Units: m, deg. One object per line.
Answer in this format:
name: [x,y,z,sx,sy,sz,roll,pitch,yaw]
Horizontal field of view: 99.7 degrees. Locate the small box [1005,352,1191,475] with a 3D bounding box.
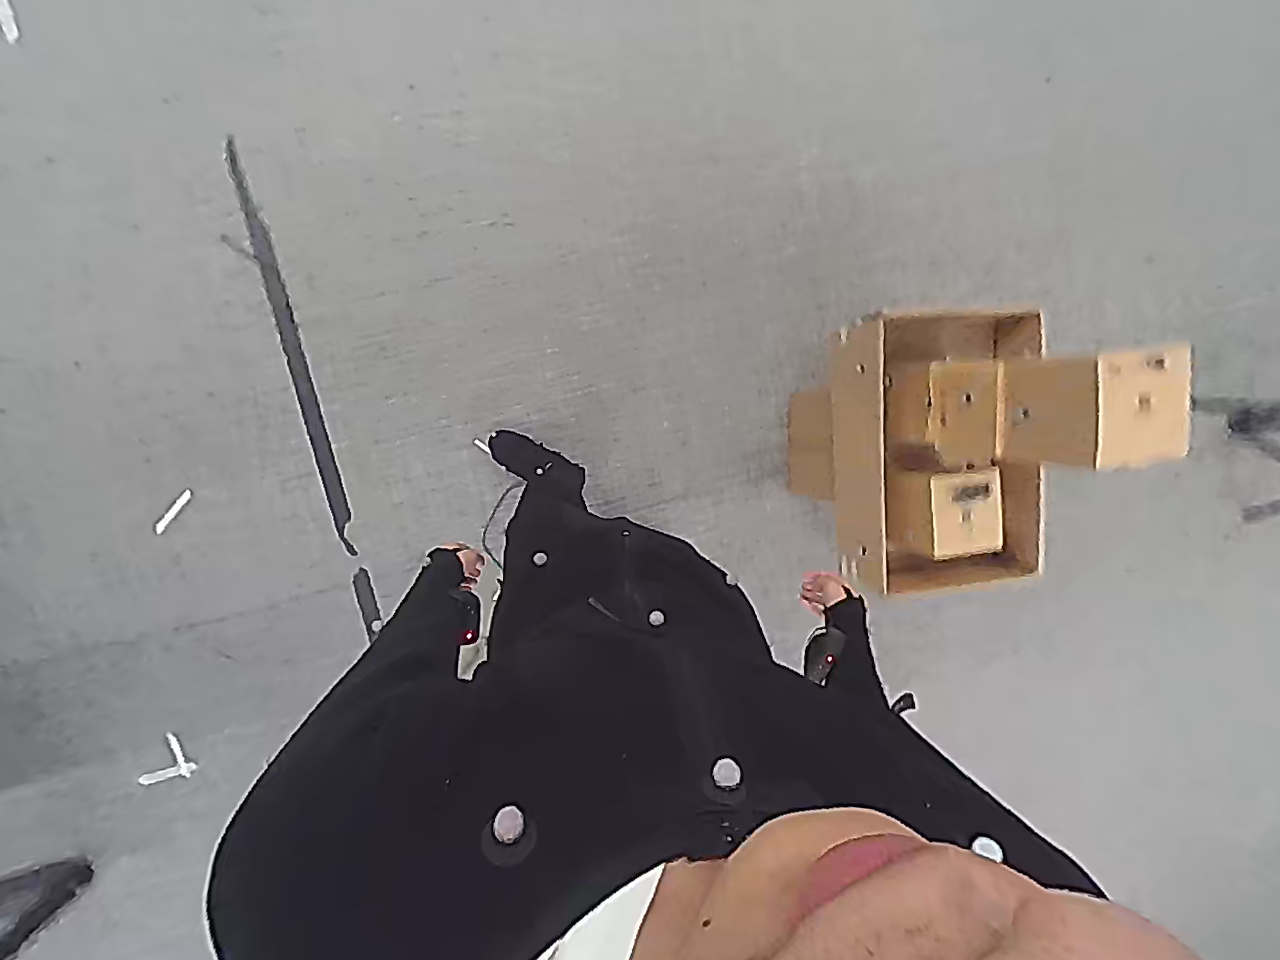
small box: [0.739,-0.113,0.891,0.168,0.176,0.179,-6,99,-9]

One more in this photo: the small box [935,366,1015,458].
small box: [0.704,-0.134,1.050,0.179,0.176,0.168,-5,99,-9]
